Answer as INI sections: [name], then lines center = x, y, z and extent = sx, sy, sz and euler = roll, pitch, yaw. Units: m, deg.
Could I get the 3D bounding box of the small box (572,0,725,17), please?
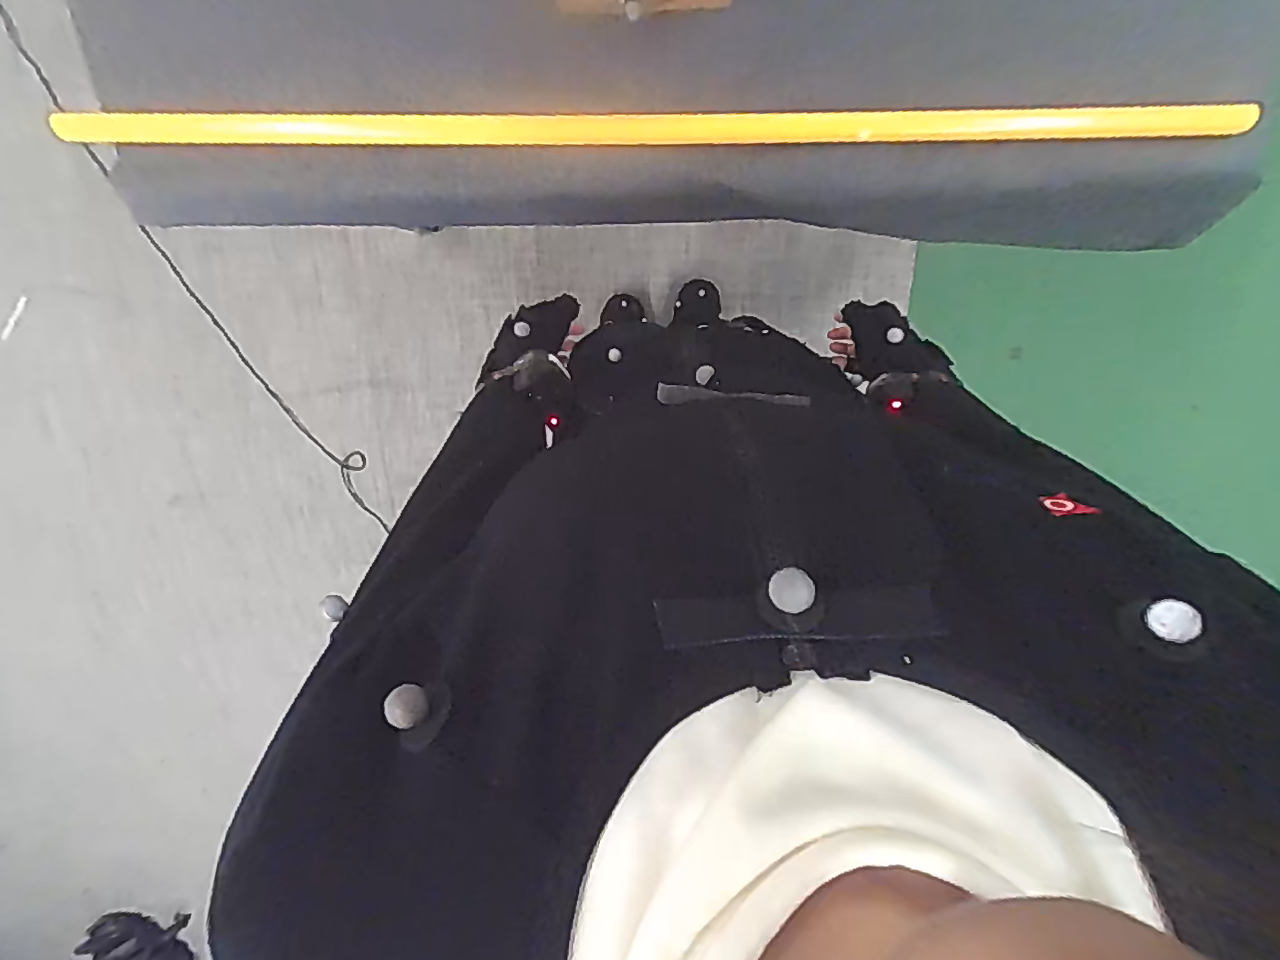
[small box]
center = 0.003, -0.518, 0.431
extent = 0.168, 0.176, 0.179
euler = -2, 111, 4
